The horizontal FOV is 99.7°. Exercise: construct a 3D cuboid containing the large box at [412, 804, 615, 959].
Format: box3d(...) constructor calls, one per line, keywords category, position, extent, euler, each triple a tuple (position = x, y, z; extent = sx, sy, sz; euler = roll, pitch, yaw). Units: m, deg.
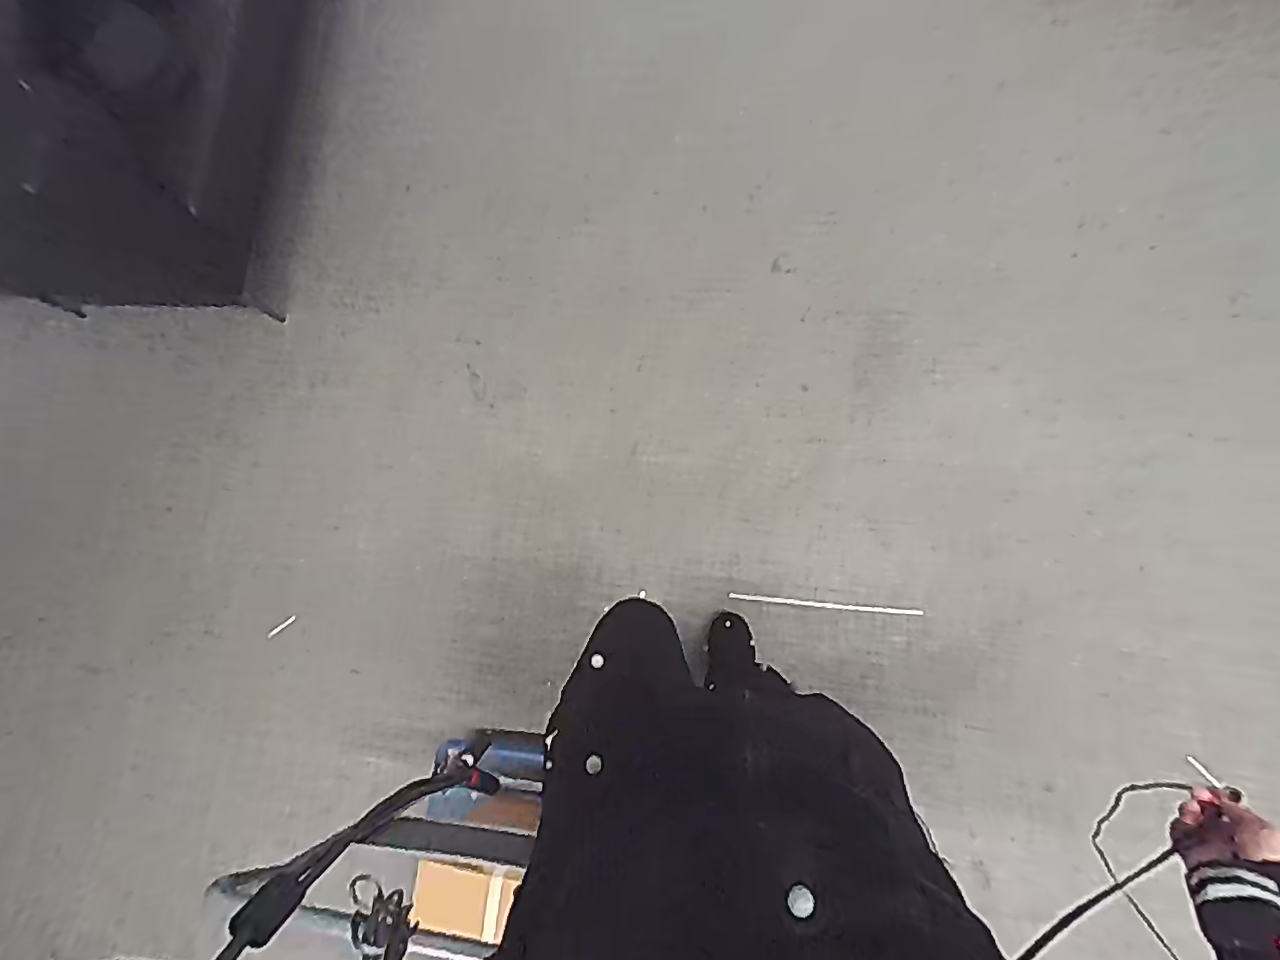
box3d(category="large box", position=(-0.238, 0.930, 1.069), extent=(0.320, 0.320, 0.408), euler=(4, 80, 10))
